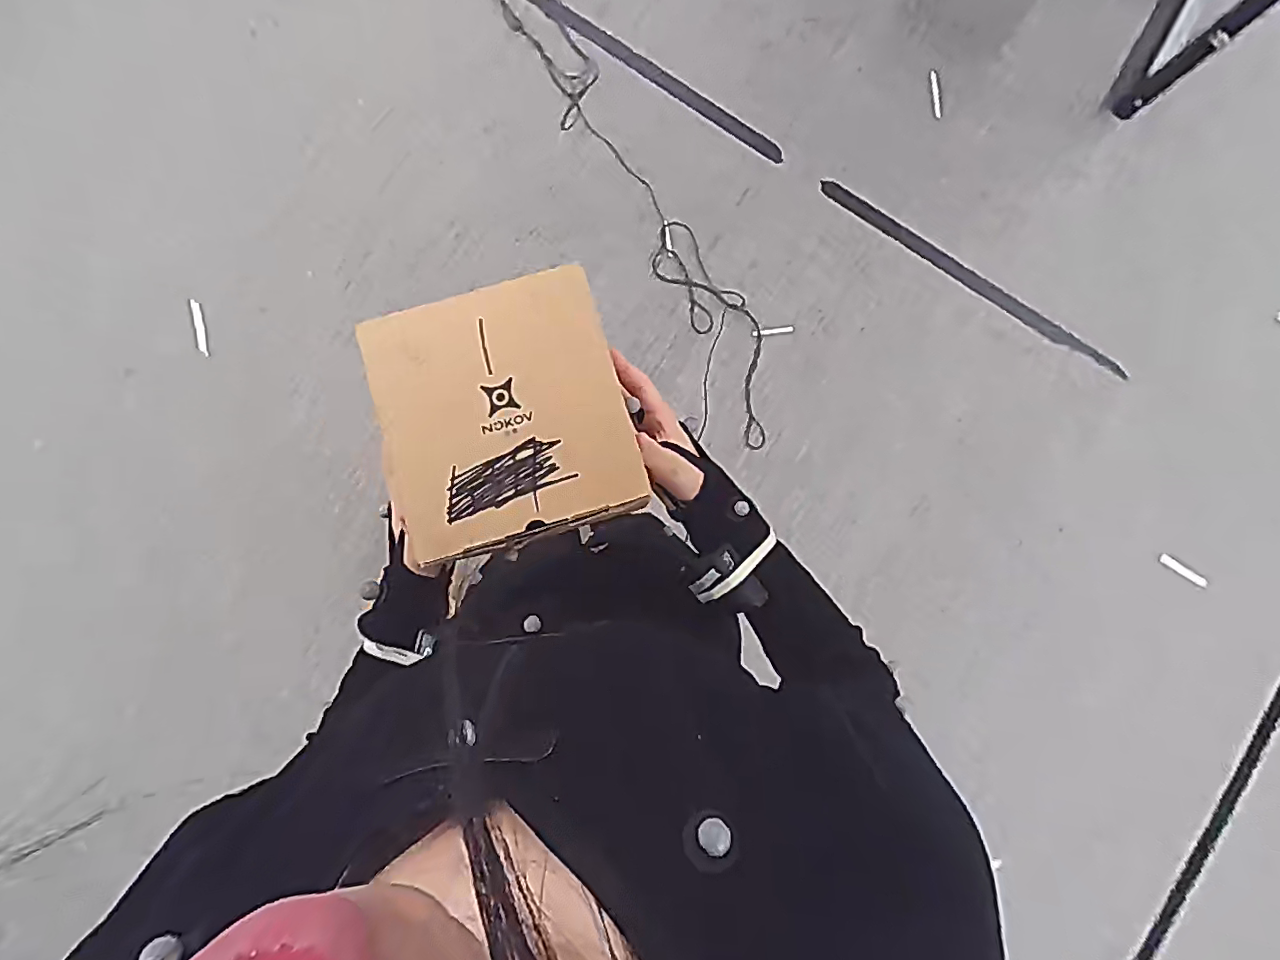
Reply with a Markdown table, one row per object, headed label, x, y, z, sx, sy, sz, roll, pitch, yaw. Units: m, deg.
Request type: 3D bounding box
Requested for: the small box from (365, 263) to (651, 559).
| label | x | y | z | sx | sy | sz | roll | pitch | yaw |
| --- | --- | --- | --- | --- | --- | --- | --- | --- | --- |
| small box | -0.092 | -0.043 | 0.447 | 0.168 | 0.176 | 0.179 | -15 | 85 | -3 |
